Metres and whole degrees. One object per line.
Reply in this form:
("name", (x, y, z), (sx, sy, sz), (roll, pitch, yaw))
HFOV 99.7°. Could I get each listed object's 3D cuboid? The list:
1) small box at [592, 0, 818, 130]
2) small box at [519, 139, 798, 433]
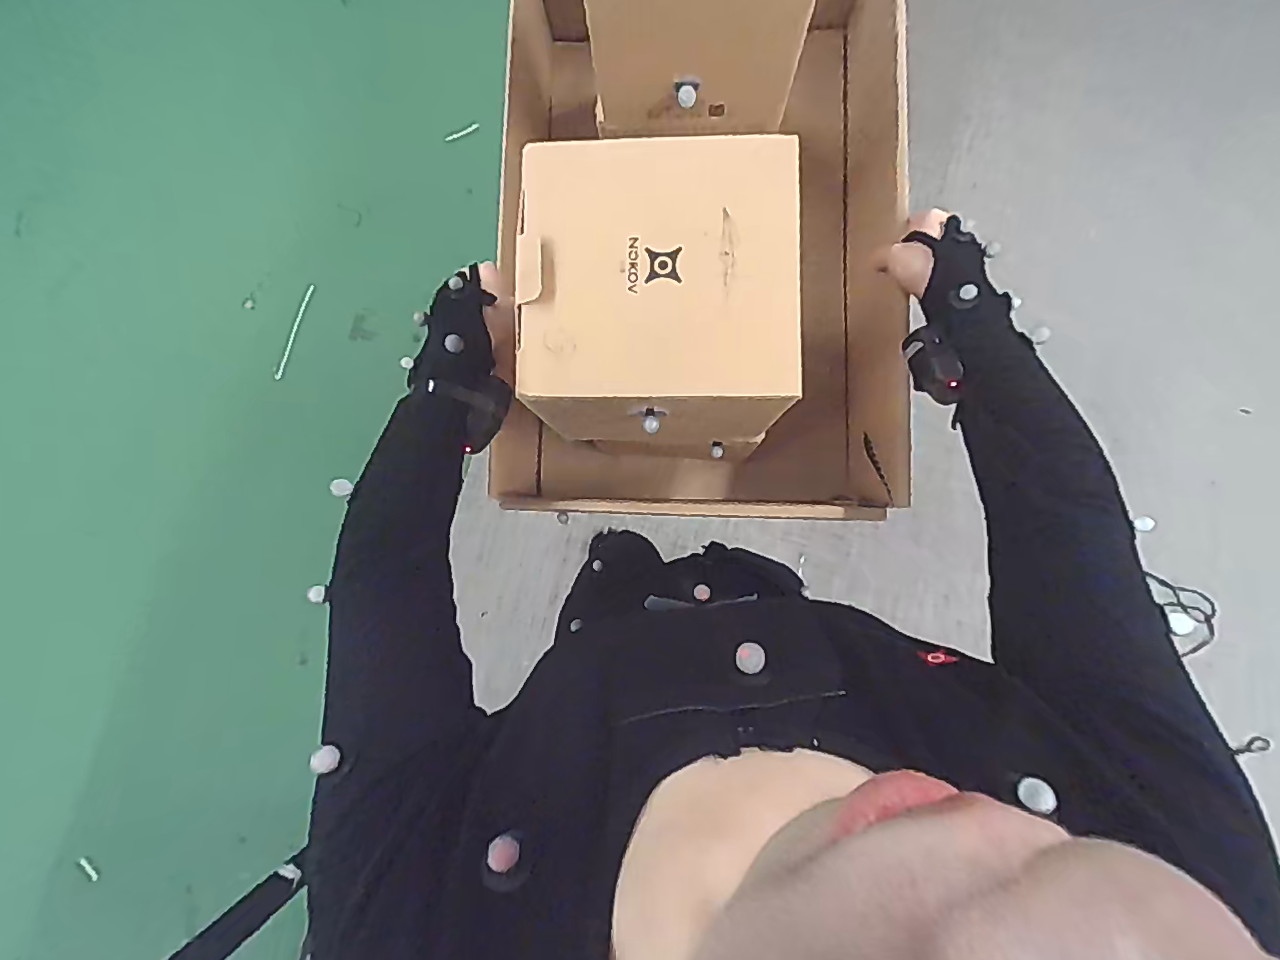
("small box", (0.048, -0.421, 0.432), (0.168, 0.176, 0.179), (1, 88, 4))
("small box", (0.016, -0.129, 0.420), (0.179, 0.176, 0.168), (0, 86, 2))
